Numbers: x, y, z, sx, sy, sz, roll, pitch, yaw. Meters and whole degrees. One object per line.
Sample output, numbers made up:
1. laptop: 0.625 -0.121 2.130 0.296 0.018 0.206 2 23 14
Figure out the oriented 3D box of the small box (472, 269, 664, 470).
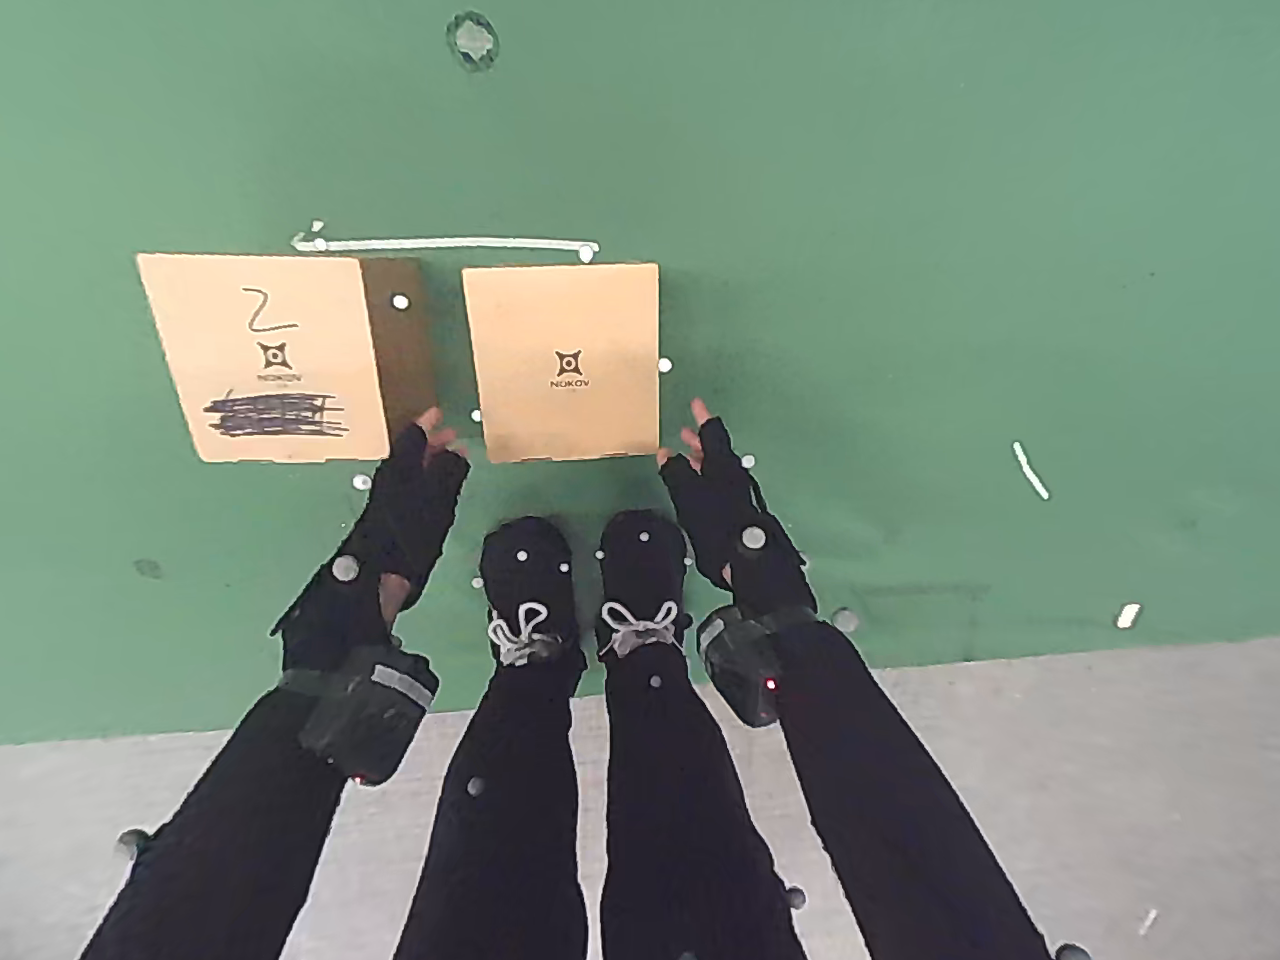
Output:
1. small box: -0.069 -0.124 0.560 0.168 0.176 0.179 -4 114 -6
